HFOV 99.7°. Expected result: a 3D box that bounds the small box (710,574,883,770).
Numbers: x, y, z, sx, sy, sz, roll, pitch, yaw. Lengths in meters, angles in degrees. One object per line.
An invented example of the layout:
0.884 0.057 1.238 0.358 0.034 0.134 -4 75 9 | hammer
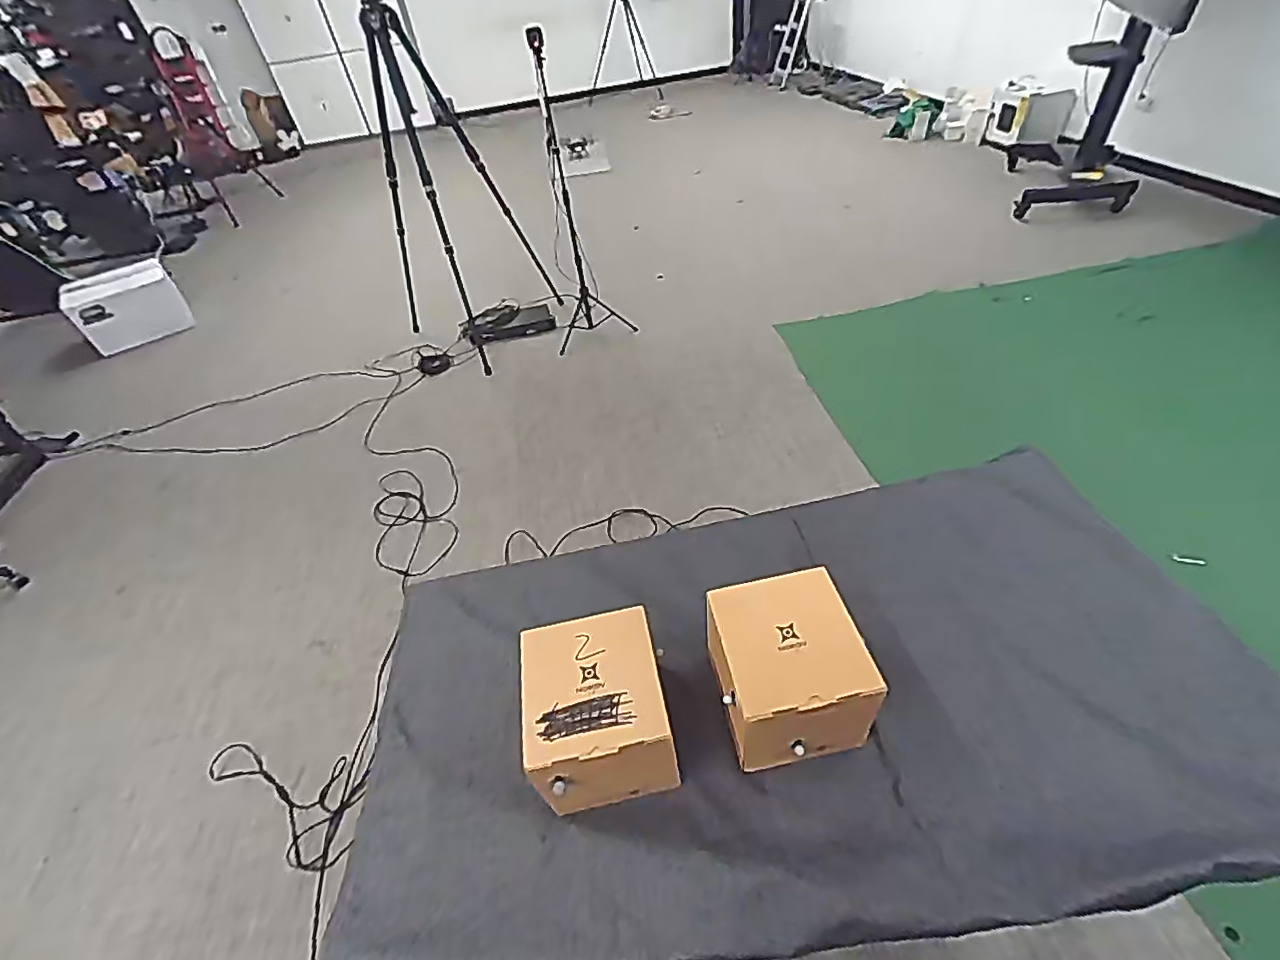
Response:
0.193 0.258 0.728 0.168 0.176 0.179 -11 45 -3 | small box
